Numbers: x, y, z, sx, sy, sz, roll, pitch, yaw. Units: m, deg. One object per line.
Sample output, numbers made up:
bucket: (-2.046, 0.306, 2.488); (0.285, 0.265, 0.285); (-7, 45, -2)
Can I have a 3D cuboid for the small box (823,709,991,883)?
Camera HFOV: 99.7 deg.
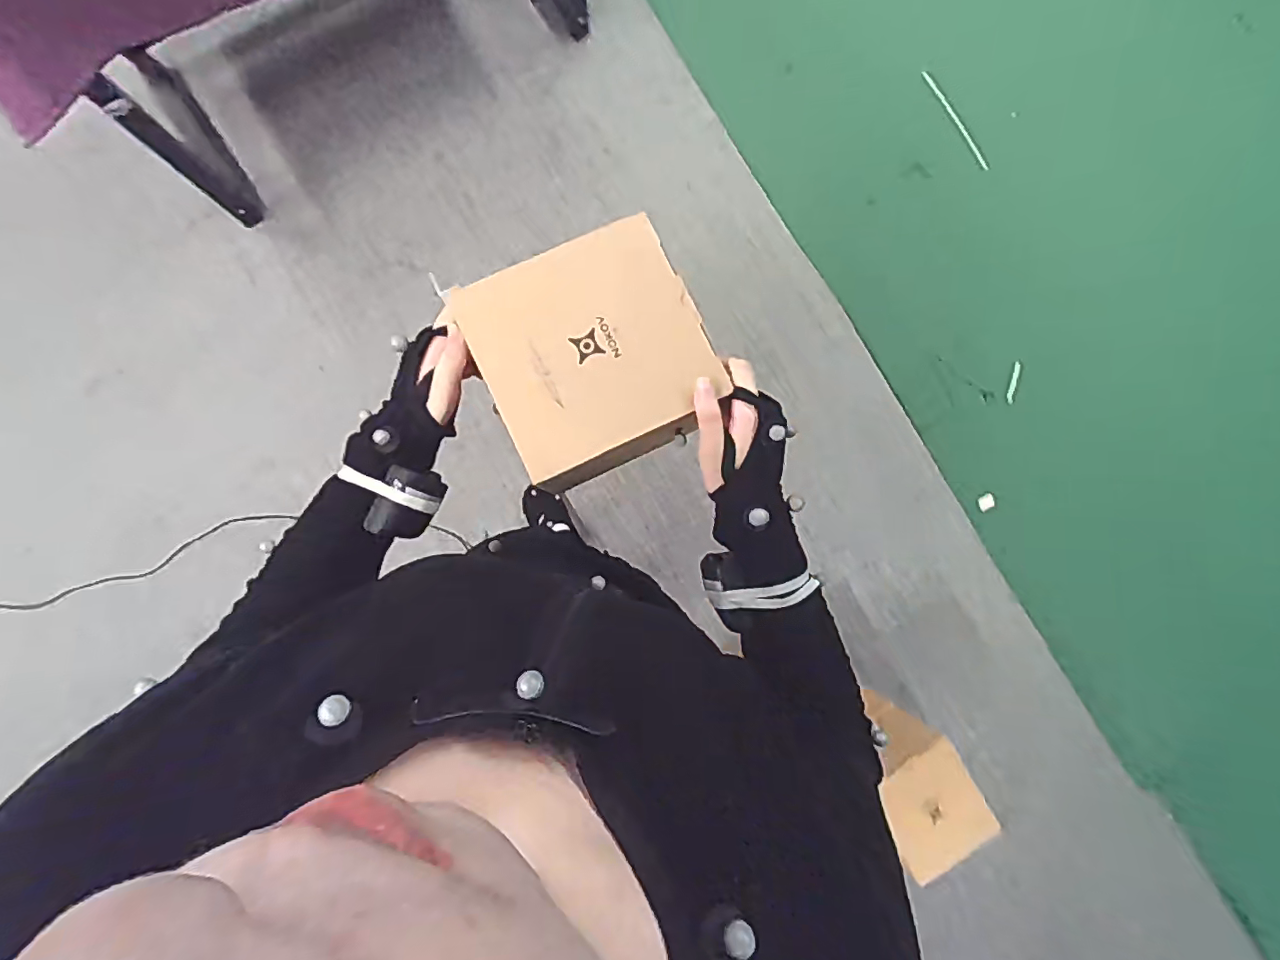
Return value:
small box: (0.461, 0.546, 0.962); (0.168, 0.176, 0.179); (-29, 88, -5)
